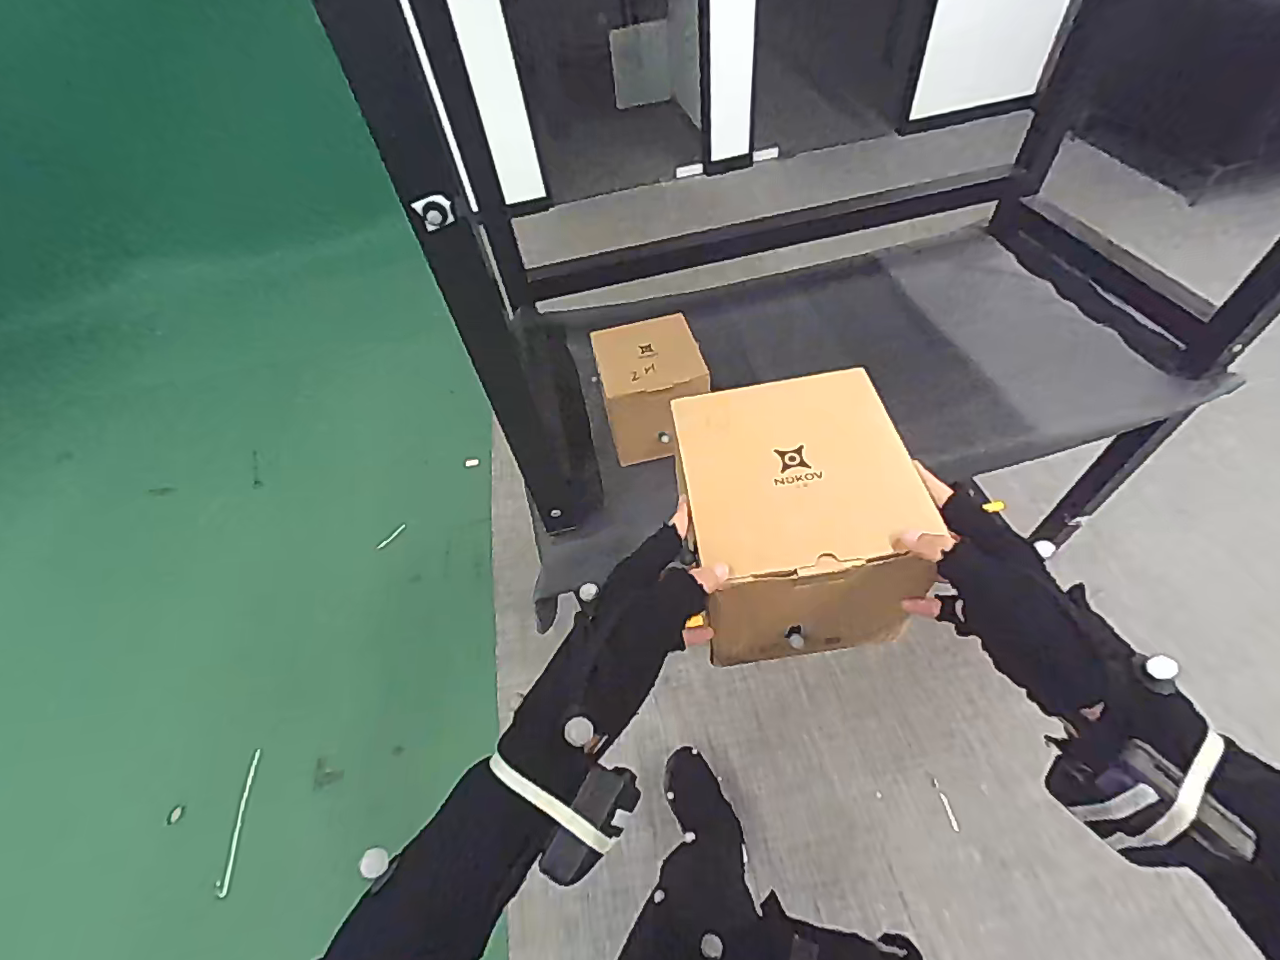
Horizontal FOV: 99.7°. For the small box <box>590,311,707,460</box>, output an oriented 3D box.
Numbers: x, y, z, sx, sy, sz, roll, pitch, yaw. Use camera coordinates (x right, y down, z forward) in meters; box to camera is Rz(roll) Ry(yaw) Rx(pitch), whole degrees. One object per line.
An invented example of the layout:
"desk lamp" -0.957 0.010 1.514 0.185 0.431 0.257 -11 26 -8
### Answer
"small box" 0.015 -0.163 0.945 0.168 0.176 0.179 -14 51 -2
